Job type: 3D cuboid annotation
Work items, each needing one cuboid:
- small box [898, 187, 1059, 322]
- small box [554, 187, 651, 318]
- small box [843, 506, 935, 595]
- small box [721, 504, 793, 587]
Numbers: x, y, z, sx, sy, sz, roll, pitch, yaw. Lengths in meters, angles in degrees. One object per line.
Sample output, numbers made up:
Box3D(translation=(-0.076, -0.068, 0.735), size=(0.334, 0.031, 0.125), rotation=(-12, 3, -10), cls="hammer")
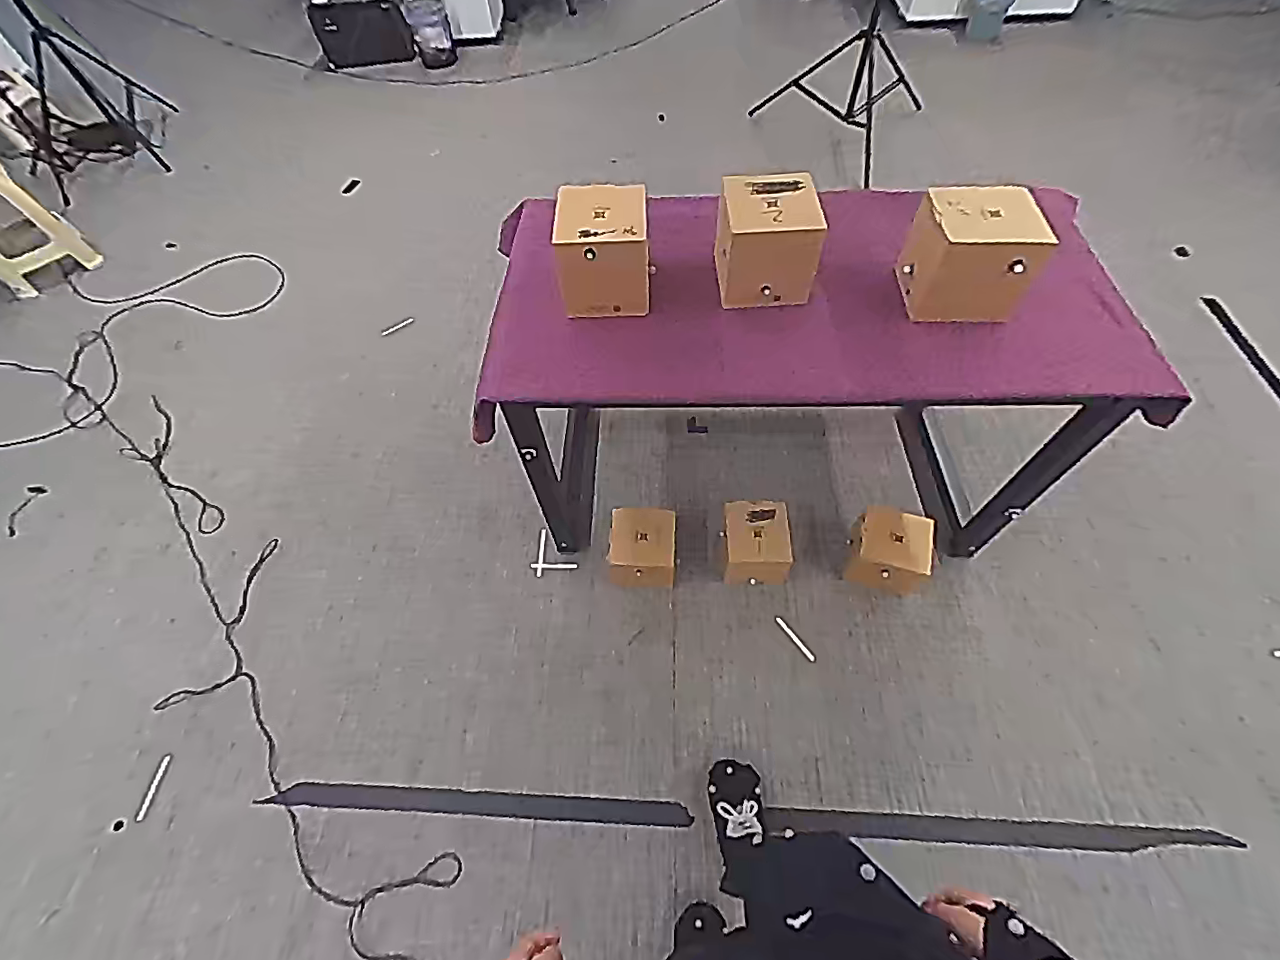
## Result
Box3D(translation=(0.600, -0.406, 0.987), size=(0.179, 0.176, 0.168), rotation=(1, 57, 5), cls="small box")
Box3D(translation=(-0.065, -0.436, 1.042), size=(0.168, 0.176, 0.179), rotation=(-1, 57, 2), cls="small box")
Box3D(translation=(0.672, 0.197, 1.468), size=(0.179, 0.176, 0.168), rotation=(14, 60, 13), cls="small box")
Box3D(translation=(0.317, 0.181, 1.495), size=(0.168, 0.176, 0.179), rotation=(-1, 59, 3), cls="small box")
